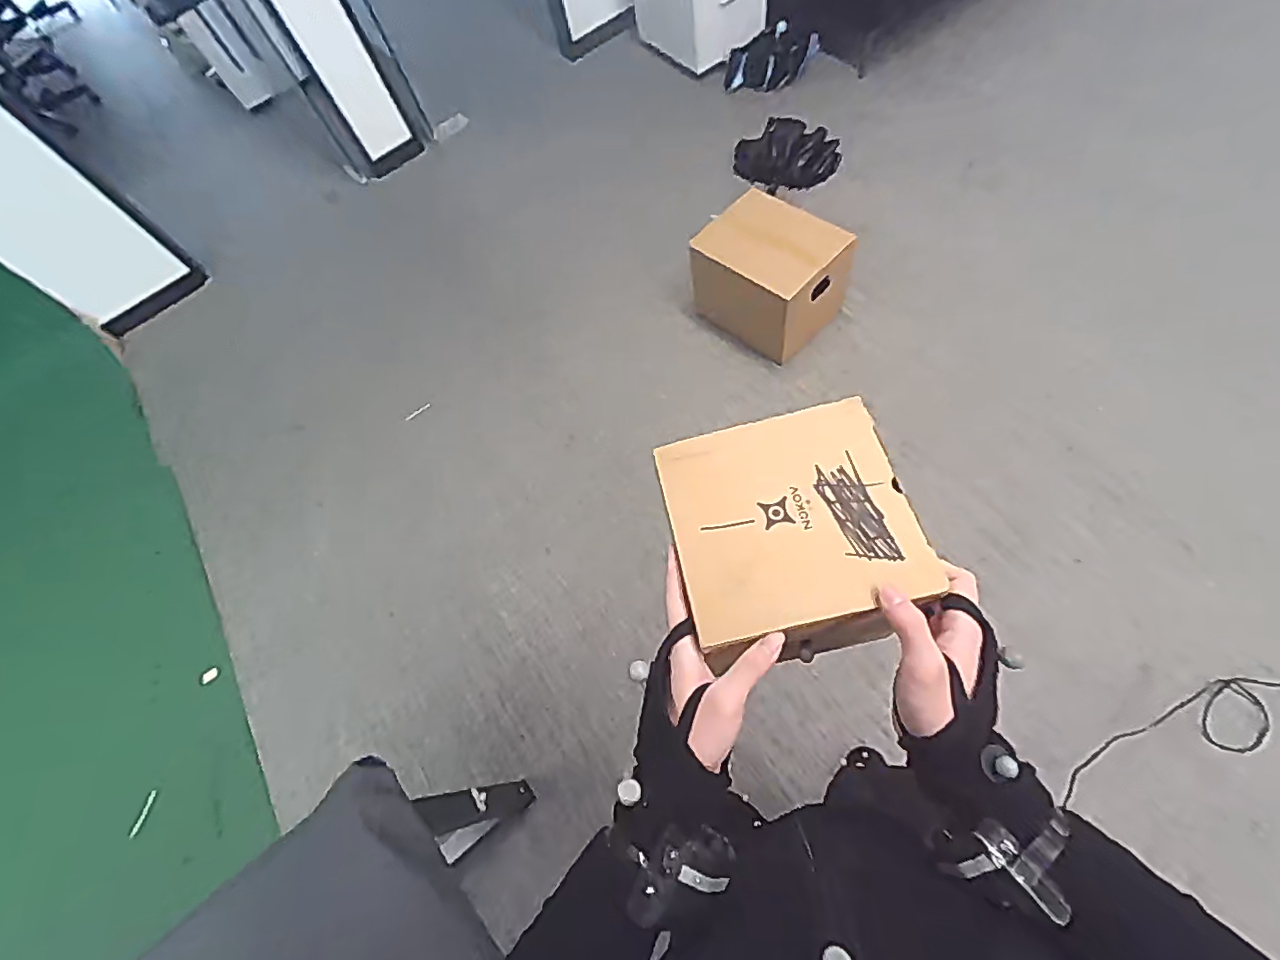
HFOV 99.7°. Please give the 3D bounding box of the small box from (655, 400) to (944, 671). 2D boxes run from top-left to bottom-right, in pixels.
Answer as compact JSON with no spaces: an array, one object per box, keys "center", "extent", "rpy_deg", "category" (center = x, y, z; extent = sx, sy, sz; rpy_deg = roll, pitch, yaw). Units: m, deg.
[{"center":[0.120,0.059,0.475],"extent":[0.179,0.176,0.168],"rpy_deg":[-14,62,3],"category":"small box"}]
